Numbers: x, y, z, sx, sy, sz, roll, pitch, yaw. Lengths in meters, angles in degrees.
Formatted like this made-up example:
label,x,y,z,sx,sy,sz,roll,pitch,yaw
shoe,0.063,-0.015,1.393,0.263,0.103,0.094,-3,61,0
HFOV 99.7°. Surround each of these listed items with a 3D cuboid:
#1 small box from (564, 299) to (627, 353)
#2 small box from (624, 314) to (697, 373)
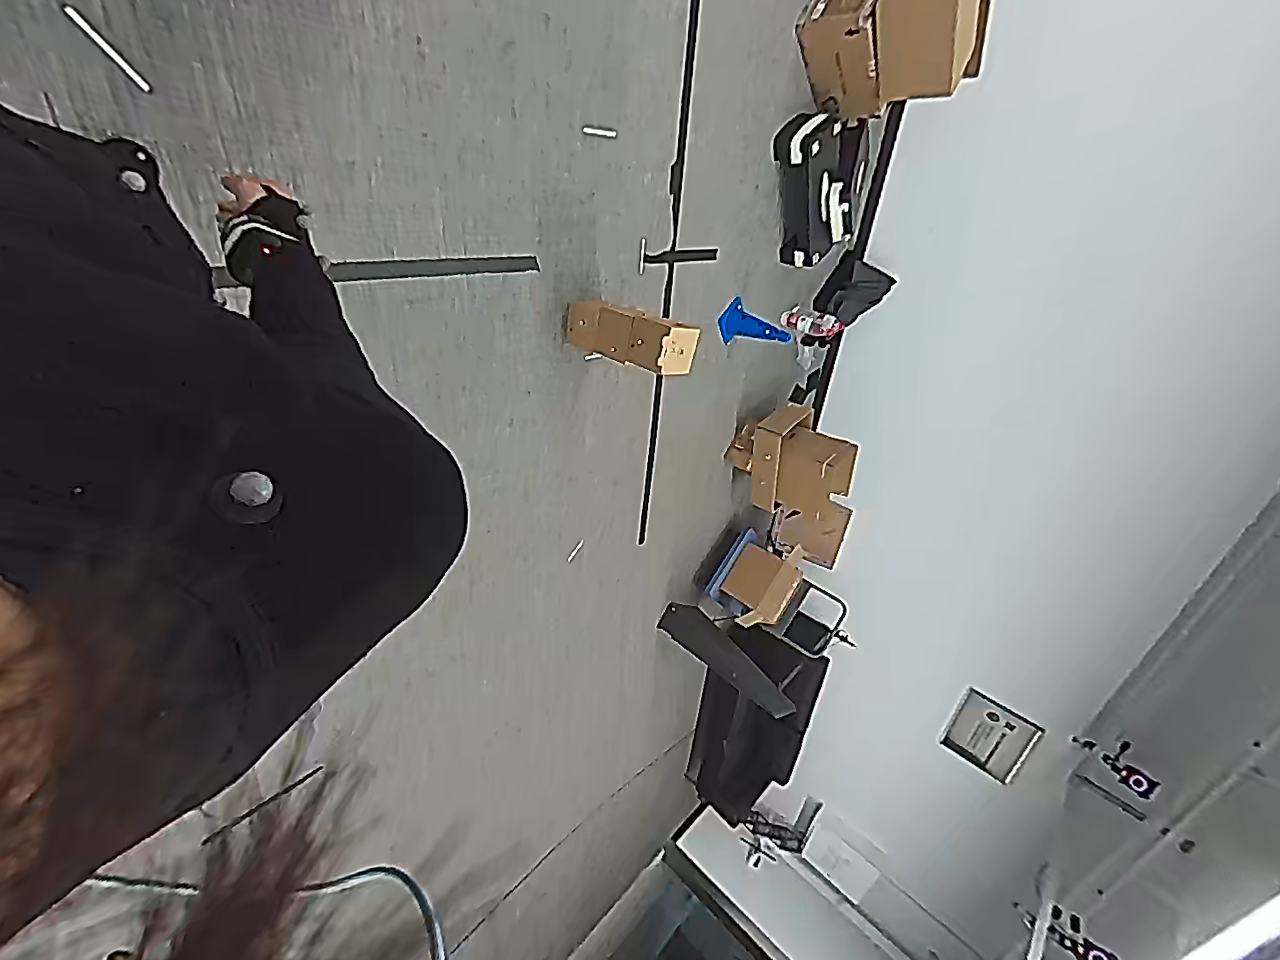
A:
label,x,y,z,sx,sy,sz,roll,pitch,yaw
small box,-0.178,-0.605,2.111,0.179,0.176,0.168,-21,130,-44
small box,0.072,-0.488,1.931,0.179,0.176,0.168,-14,125,-48
